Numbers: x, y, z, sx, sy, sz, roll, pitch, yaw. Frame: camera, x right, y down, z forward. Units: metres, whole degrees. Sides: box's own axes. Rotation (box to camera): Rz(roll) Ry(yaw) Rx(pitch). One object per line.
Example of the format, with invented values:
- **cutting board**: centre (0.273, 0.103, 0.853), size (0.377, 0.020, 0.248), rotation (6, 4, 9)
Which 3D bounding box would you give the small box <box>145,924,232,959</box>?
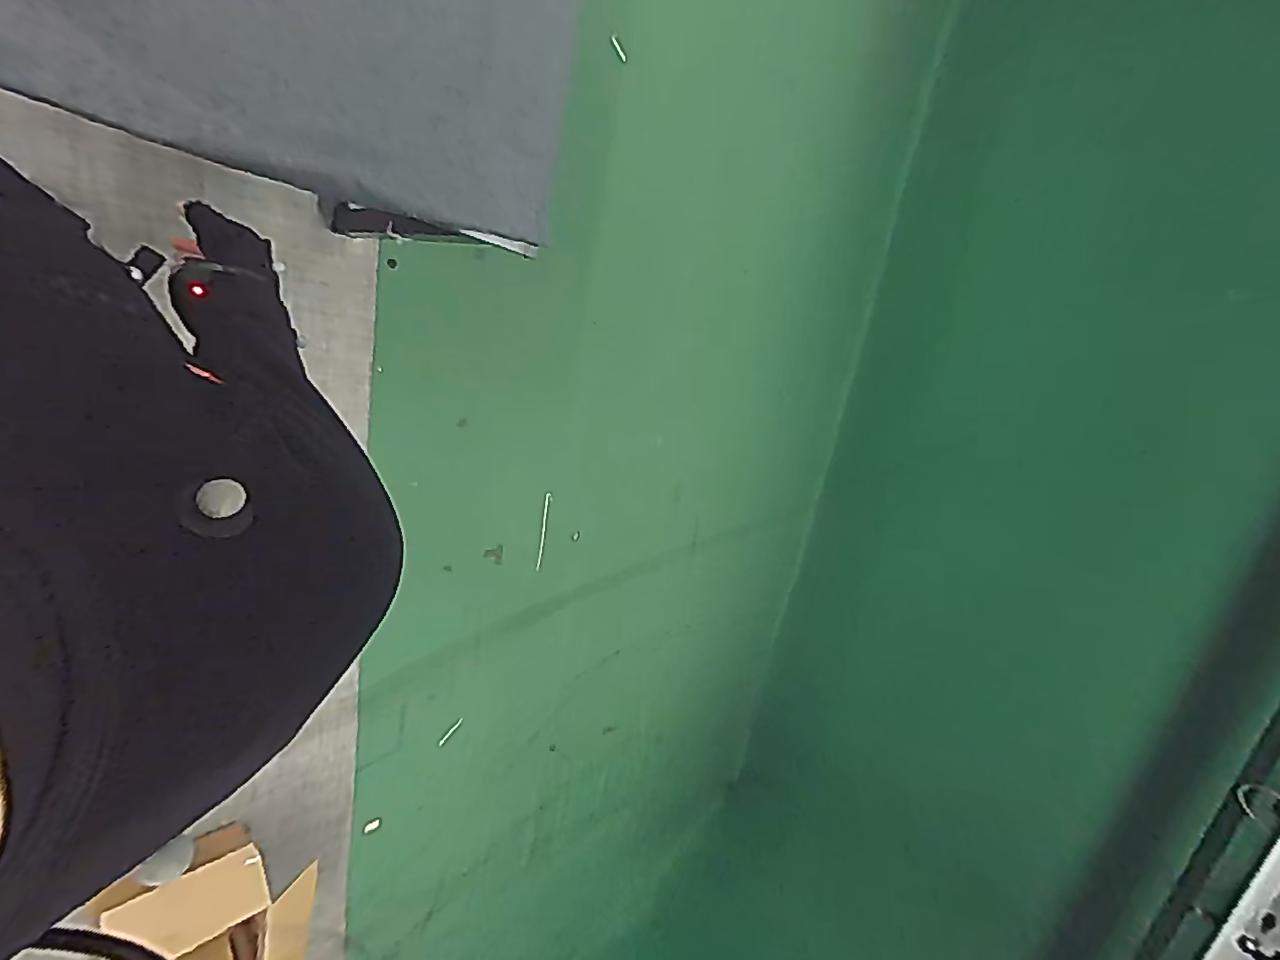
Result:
- **small box**: centre (-1.102, 1.240, 1.297), size (0.179, 0.176, 0.168), rotation (0, 108, -49)
